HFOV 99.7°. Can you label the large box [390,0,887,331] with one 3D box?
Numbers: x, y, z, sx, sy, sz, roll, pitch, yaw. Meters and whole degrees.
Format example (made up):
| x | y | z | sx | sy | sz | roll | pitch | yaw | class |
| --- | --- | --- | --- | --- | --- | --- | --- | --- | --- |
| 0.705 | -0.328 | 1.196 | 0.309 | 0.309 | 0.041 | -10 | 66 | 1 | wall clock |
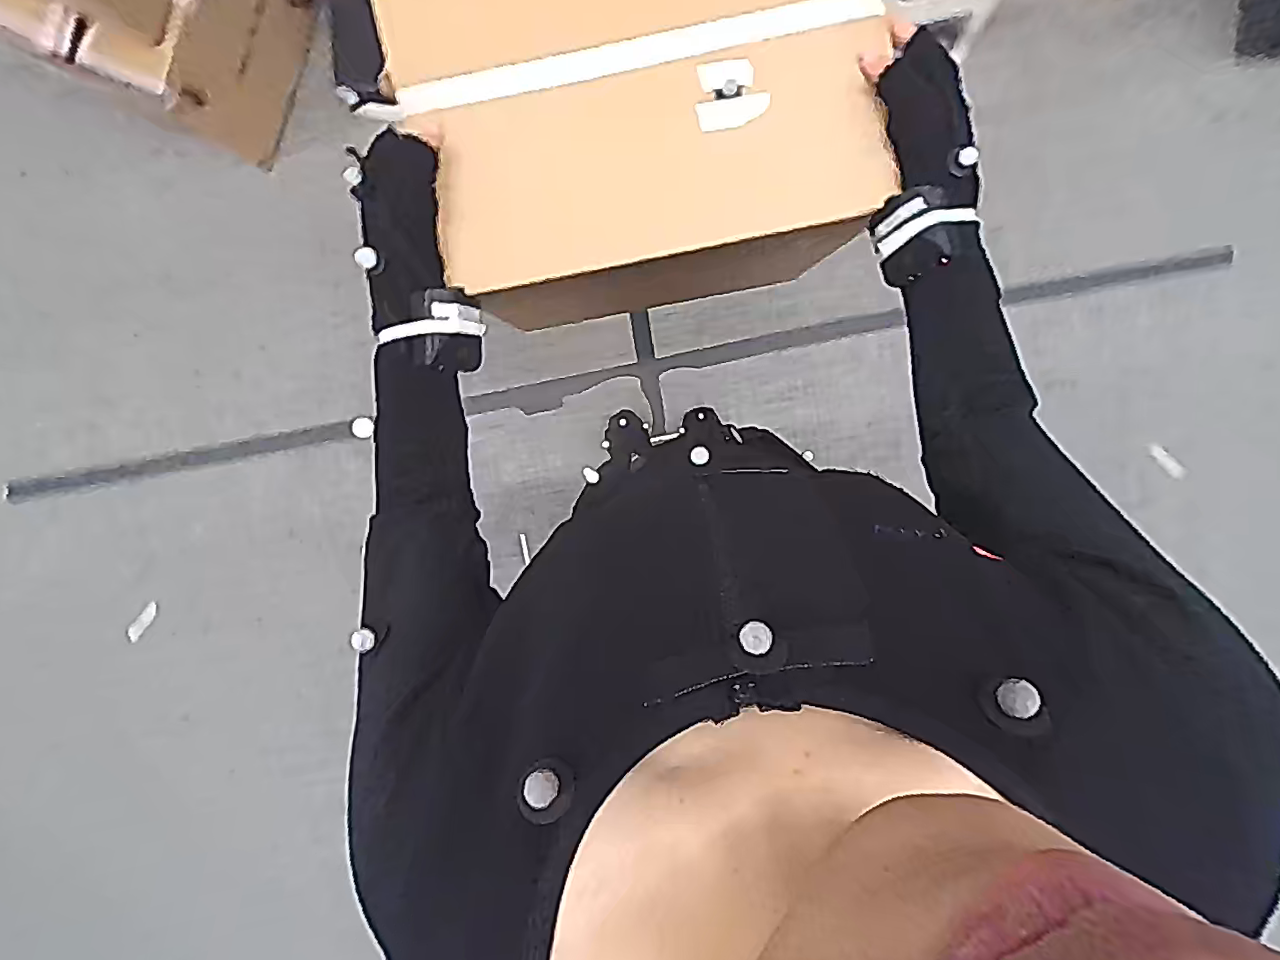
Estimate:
| x | y | z | sx | sy | sz | roll | pitch | yaw | class |
| --- | --- | --- | --- | --- | --- | --- | --- | --- | --- |
| -0.003 | -0.379 | 0.614 | 0.408 | 0.320 | 0.320 | -11 | 100 | 0 | large box |
